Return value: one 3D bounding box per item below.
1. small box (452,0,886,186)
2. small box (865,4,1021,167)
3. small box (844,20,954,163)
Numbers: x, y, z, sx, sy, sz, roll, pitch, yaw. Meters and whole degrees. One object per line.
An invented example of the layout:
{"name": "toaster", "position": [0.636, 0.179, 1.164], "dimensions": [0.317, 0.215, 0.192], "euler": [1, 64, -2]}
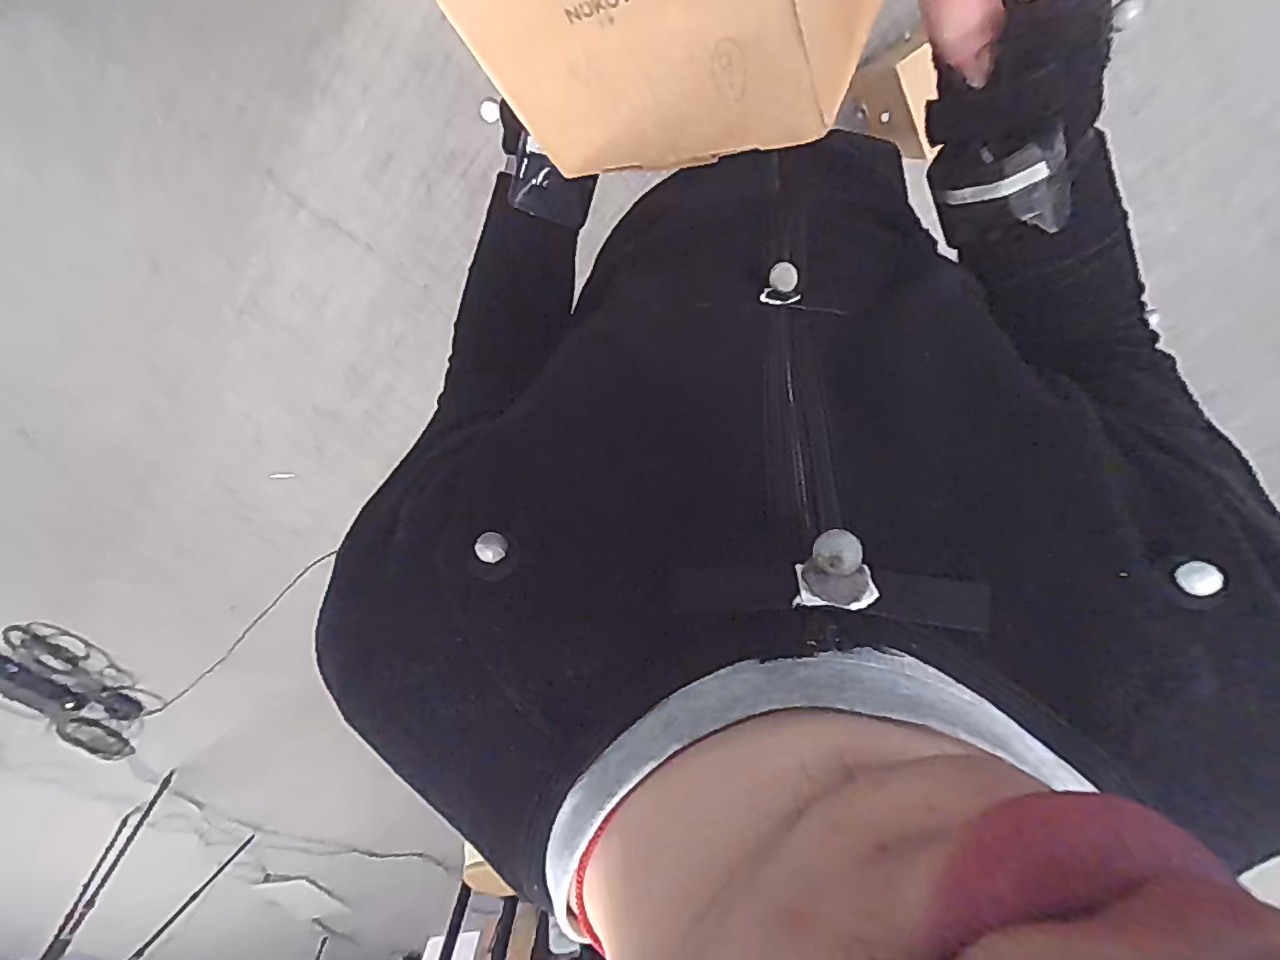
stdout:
{"name": "small box", "position": [0.020, -0.274, 0.247], "dimensions": [0.168, 0.176, 0.179], "euler": [15, 165, 35]}
{"name": "small box", "position": [0.538, -0.700, 0.978], "dimensions": [0.179, 0.176, 0.168], "euler": [-26, 116, 21]}
{"name": "small box", "position": [0.549, -0.790, 1.115], "dimensions": [0.179, 0.176, 0.168], "euler": [-27, 116, 22]}
